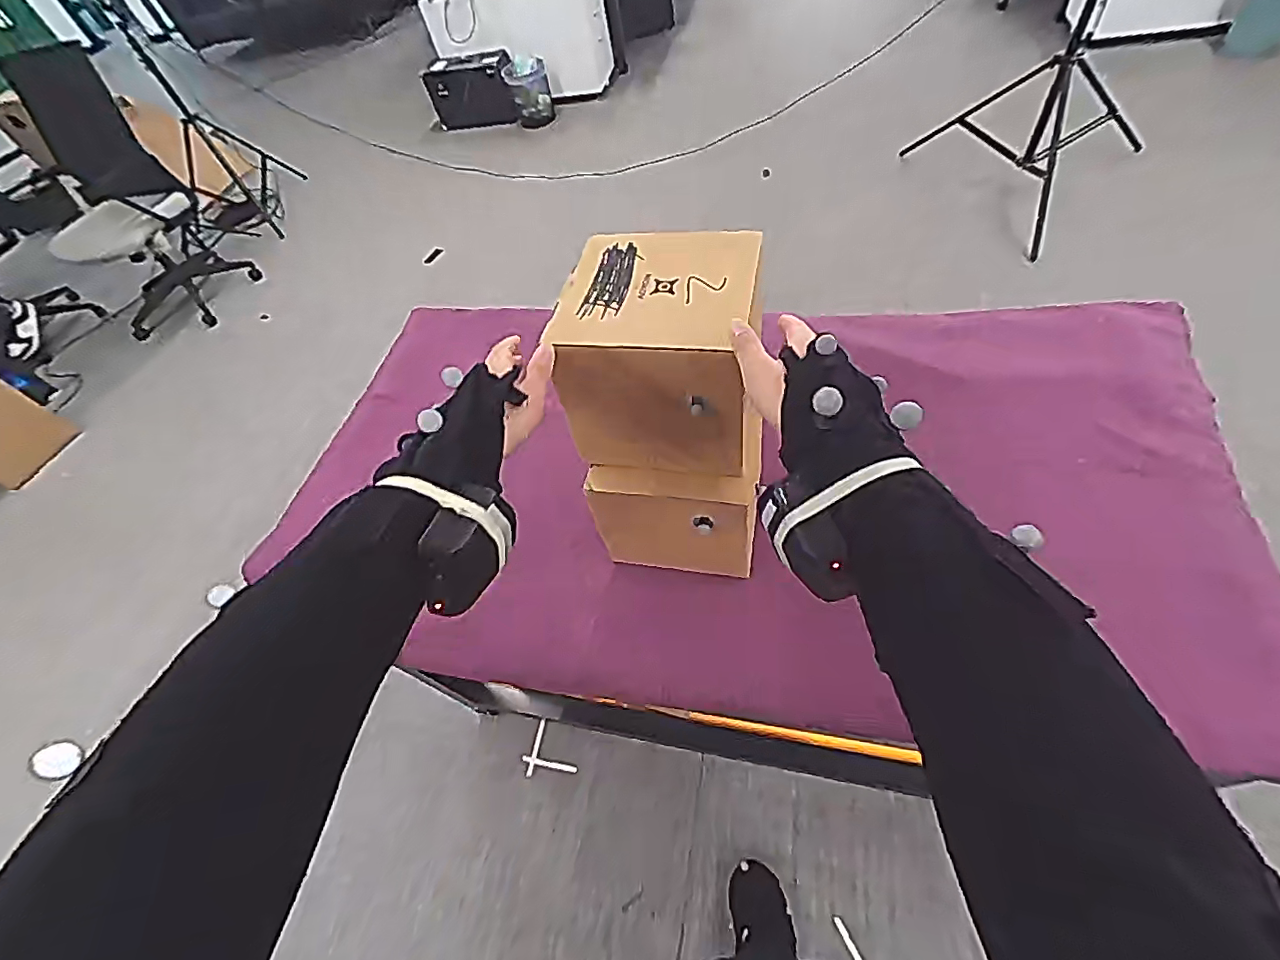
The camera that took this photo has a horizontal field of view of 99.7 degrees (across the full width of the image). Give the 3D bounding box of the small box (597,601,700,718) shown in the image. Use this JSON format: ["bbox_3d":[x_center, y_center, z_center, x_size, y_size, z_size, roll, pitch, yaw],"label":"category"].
[{"bbox_3d":[0.028,0.387,1.154,0.168,0.176,0.179,10,58,17],"label":"small box"}]

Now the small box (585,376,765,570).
[{"bbox_3d":[0.054,-0.005,0.657,0.179,0.176,0.168,5,55,15],"label":"small box"}]
